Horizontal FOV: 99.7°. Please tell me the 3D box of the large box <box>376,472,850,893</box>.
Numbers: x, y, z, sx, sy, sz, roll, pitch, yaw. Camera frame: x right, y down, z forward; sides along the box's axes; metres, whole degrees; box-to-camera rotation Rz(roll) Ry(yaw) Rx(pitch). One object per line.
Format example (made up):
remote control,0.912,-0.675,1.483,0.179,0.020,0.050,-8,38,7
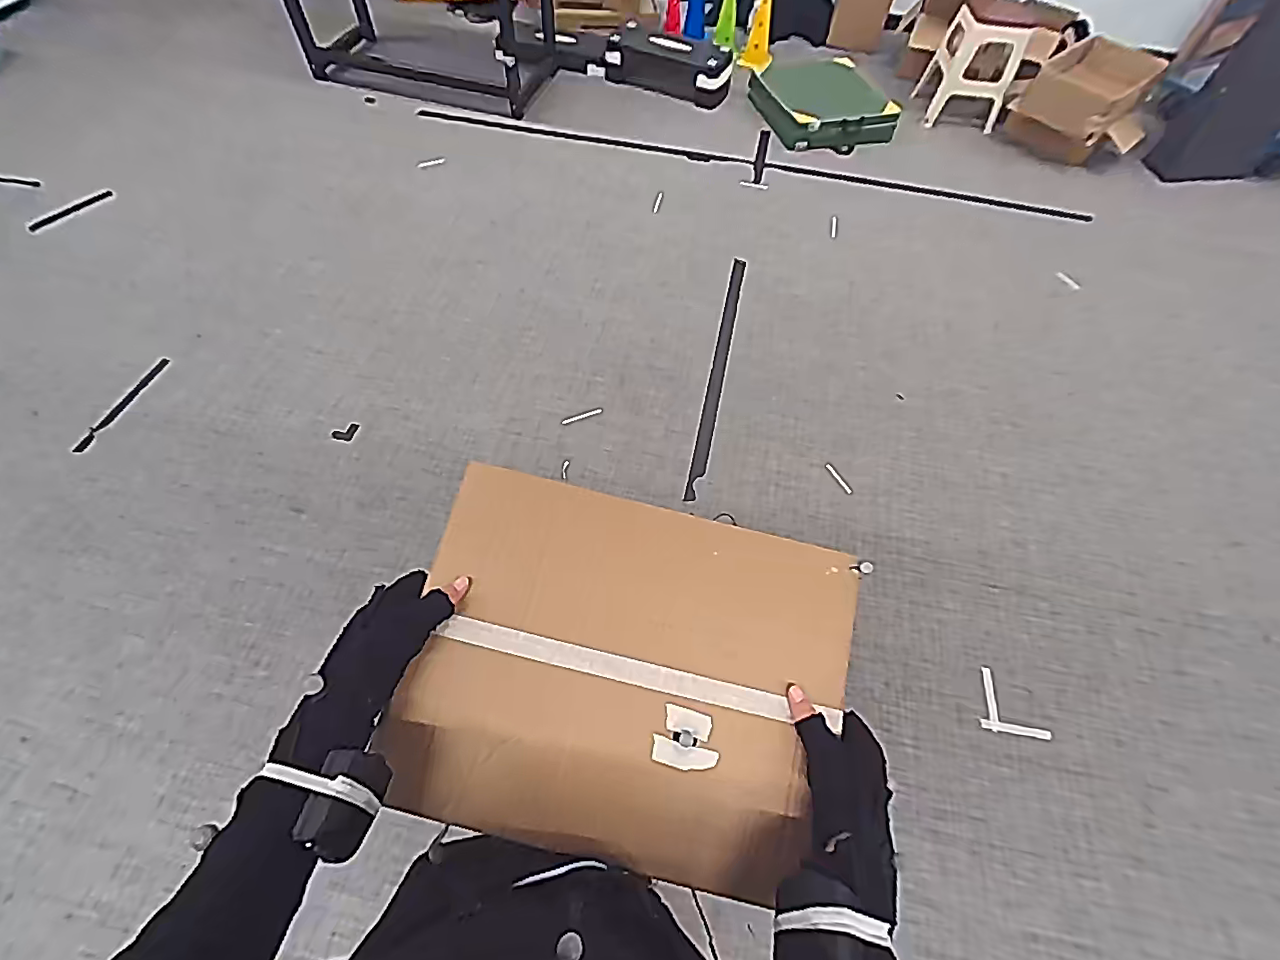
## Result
large box,-0.018,0.217,0.658,0.408,0.320,0.320,14,74,1
